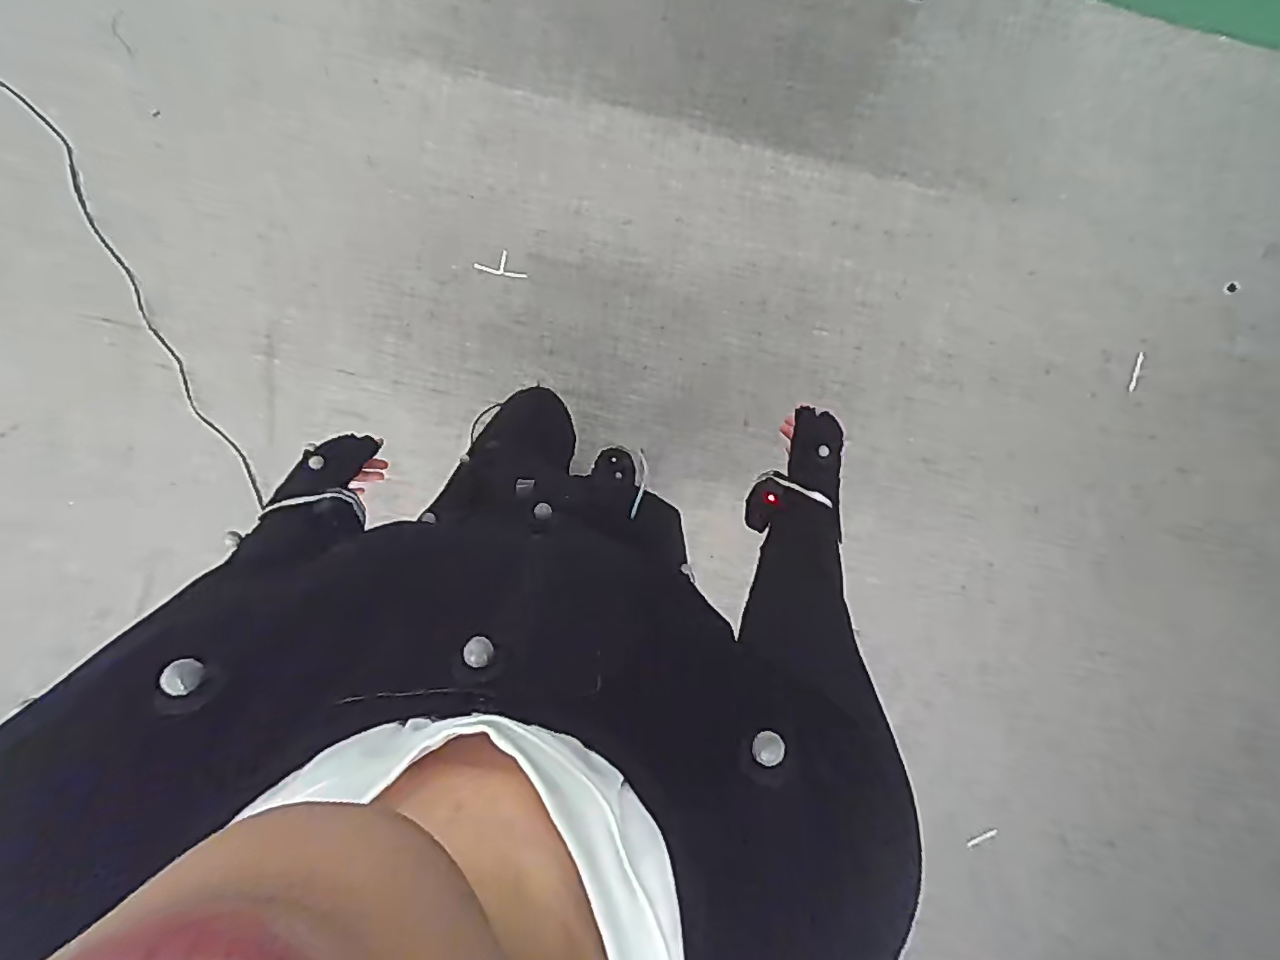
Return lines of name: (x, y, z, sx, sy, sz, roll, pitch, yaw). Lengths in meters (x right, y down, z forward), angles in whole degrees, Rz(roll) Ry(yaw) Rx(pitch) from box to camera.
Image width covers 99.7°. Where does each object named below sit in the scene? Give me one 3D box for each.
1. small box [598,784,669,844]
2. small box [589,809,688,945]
small box: (-0.023, 0.965, 1.481, 0.179, 0.176, 0.168, 7, 96, -3)
small box: (-0.007, 0.966, 1.334, 0.168, 0.176, 0.179, 41, 94, -5)
